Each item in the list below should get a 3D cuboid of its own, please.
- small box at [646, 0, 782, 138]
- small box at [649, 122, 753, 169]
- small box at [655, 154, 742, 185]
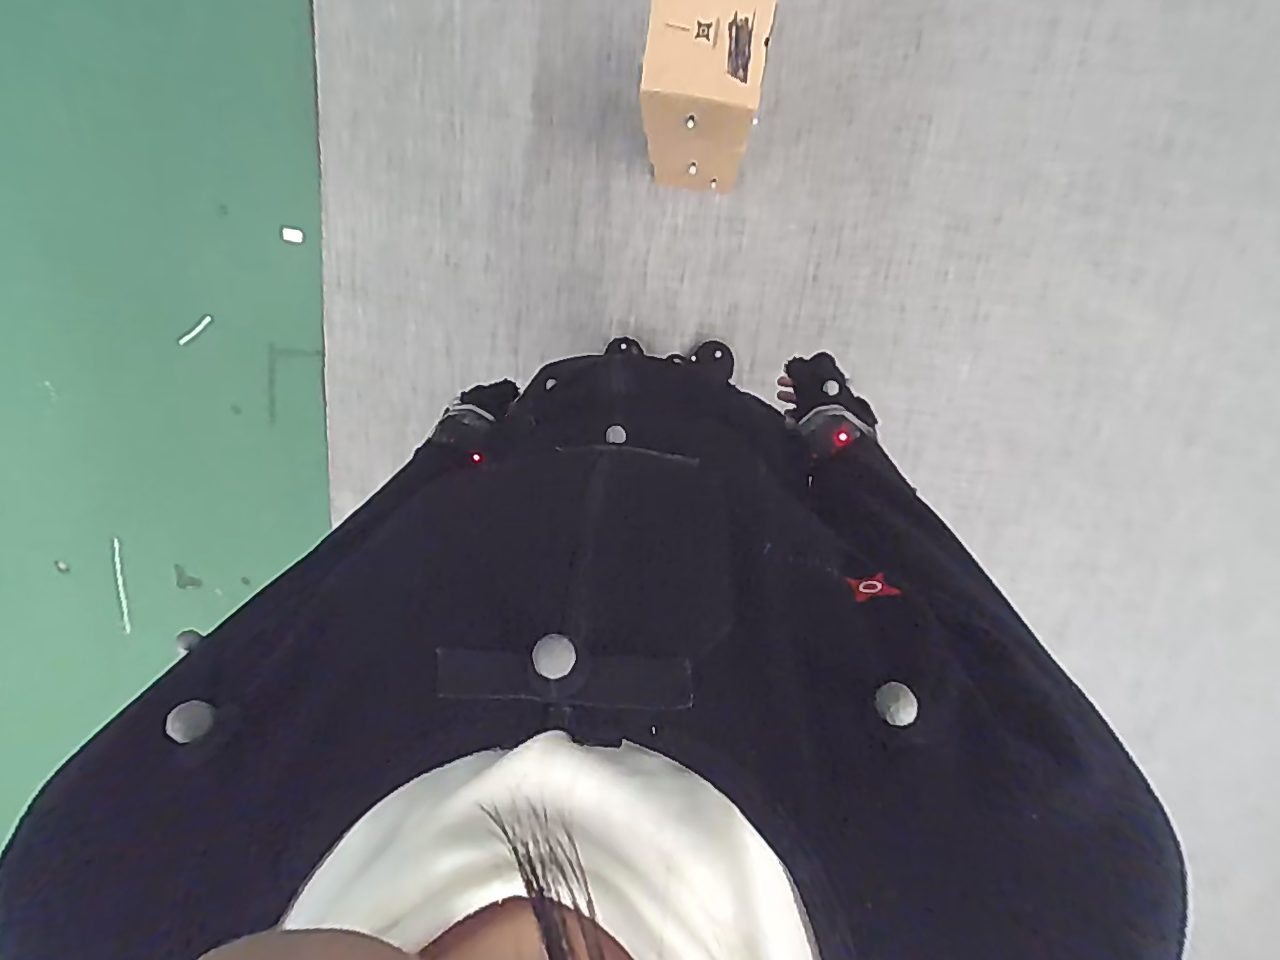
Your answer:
[{"bbox_3d":[0.107,-0.652,0.836,0.179,0.176,0.168,7,106,1],"label":"small box"},{"bbox_3d":[0.120,-0.694,0.995,0.179,0.176,0.168,12,106,0],"label":"small box"},{"bbox_3d":[0.133,-0.743,1.151,0.179,0.176,0.168,8,105,3],"label":"small box"}]
